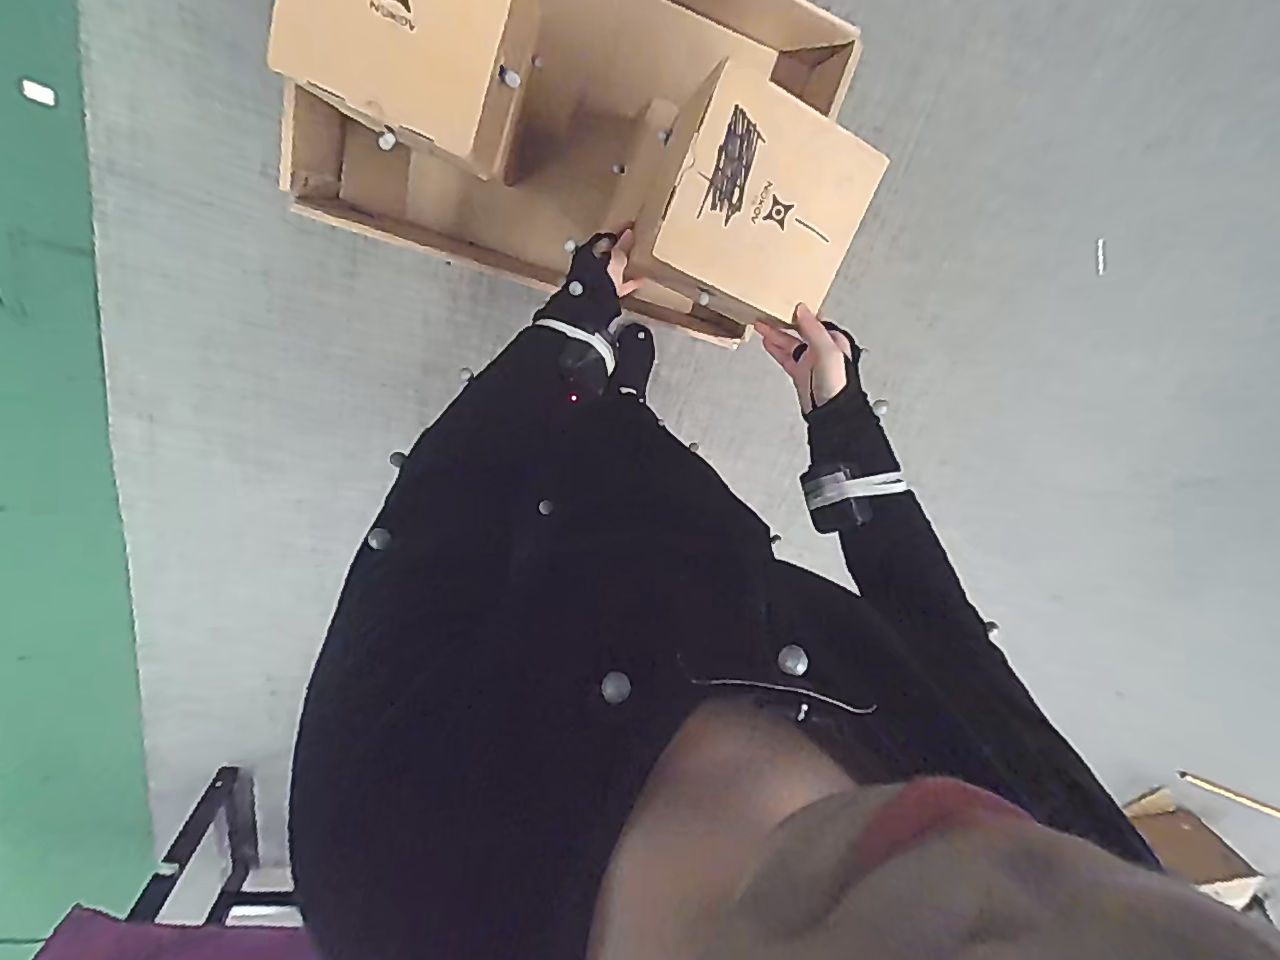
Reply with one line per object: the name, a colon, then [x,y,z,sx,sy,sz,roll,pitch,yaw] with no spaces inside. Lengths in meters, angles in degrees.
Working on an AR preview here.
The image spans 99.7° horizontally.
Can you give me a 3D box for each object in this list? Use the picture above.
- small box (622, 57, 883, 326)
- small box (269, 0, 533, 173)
small box: [0.097,-0.271,0.555,0.179,0.176,0.168,19,104,-18]
small box: [-0.203,-0.416,0.502,0.168,0.176,0.179,19,111,-15]
